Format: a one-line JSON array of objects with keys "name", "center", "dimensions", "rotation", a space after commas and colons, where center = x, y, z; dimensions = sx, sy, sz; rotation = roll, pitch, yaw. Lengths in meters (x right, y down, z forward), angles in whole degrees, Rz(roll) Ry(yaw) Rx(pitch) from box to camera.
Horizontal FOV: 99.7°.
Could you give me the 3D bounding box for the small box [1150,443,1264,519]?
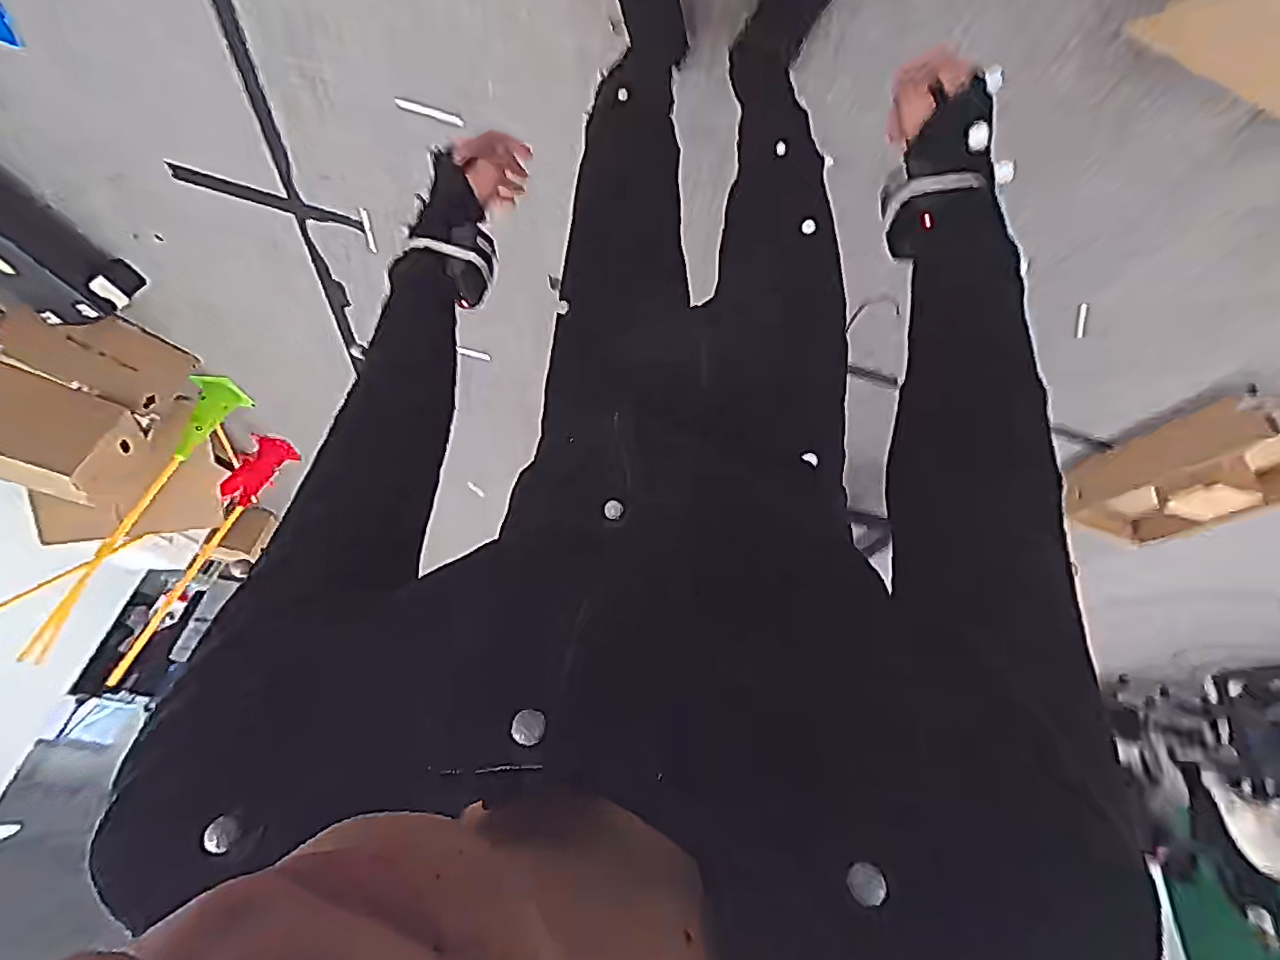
[{"name": "small box", "center": [1.804, -0.001, 1.733], "dimensions": [0.179, 0.176, 0.168], "rotation": [14, 151, -7]}]
